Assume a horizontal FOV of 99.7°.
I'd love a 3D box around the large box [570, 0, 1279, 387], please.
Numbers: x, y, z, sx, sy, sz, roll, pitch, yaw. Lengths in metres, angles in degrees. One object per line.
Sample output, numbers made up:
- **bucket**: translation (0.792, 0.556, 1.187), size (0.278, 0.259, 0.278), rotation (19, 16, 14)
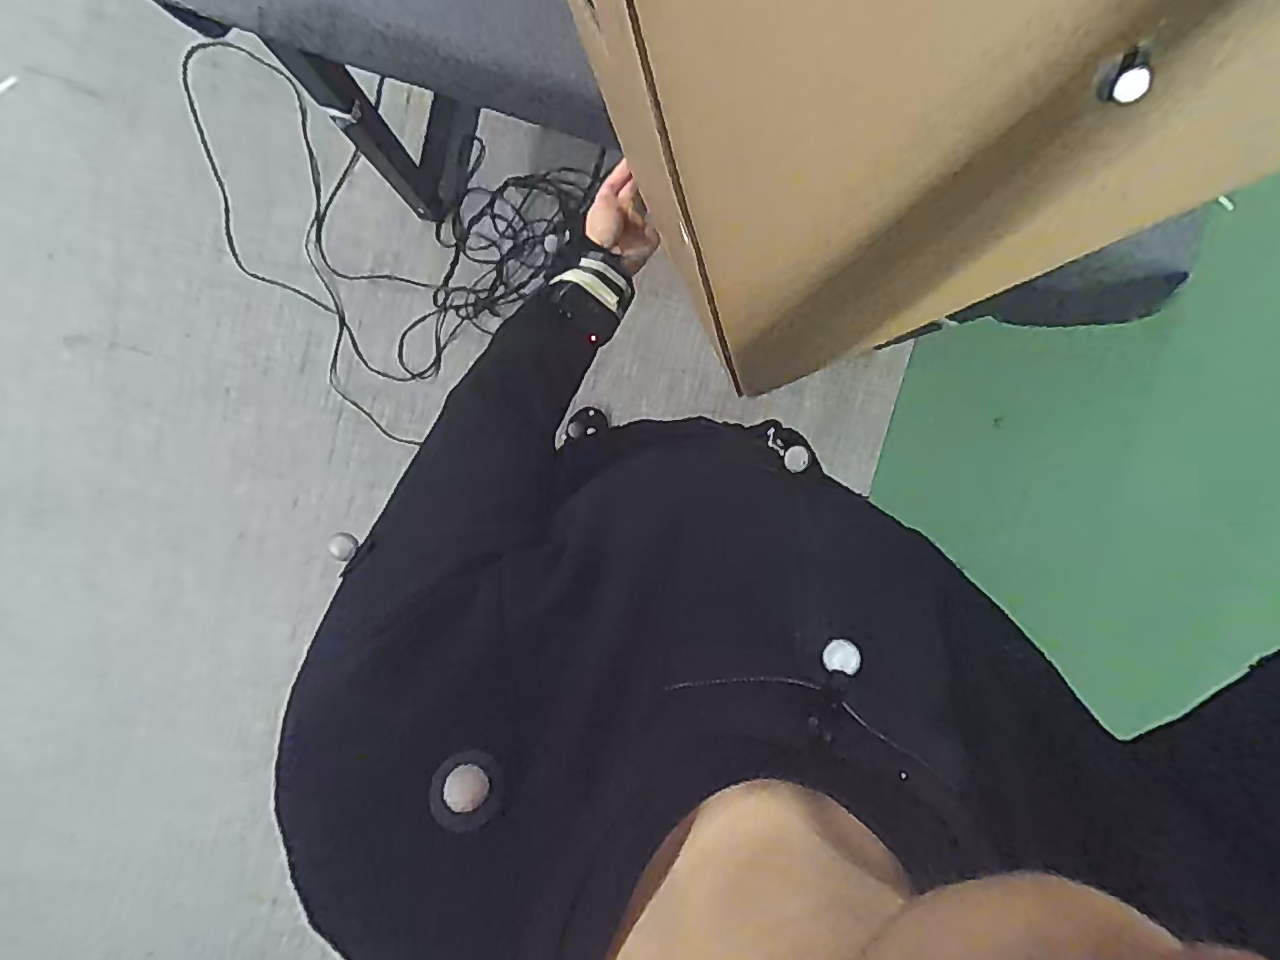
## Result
- **large box**: translation (0.174, -0.326, 0.322), size (0.408, 0.320, 0.320), rotation (-25, 62, 9)
